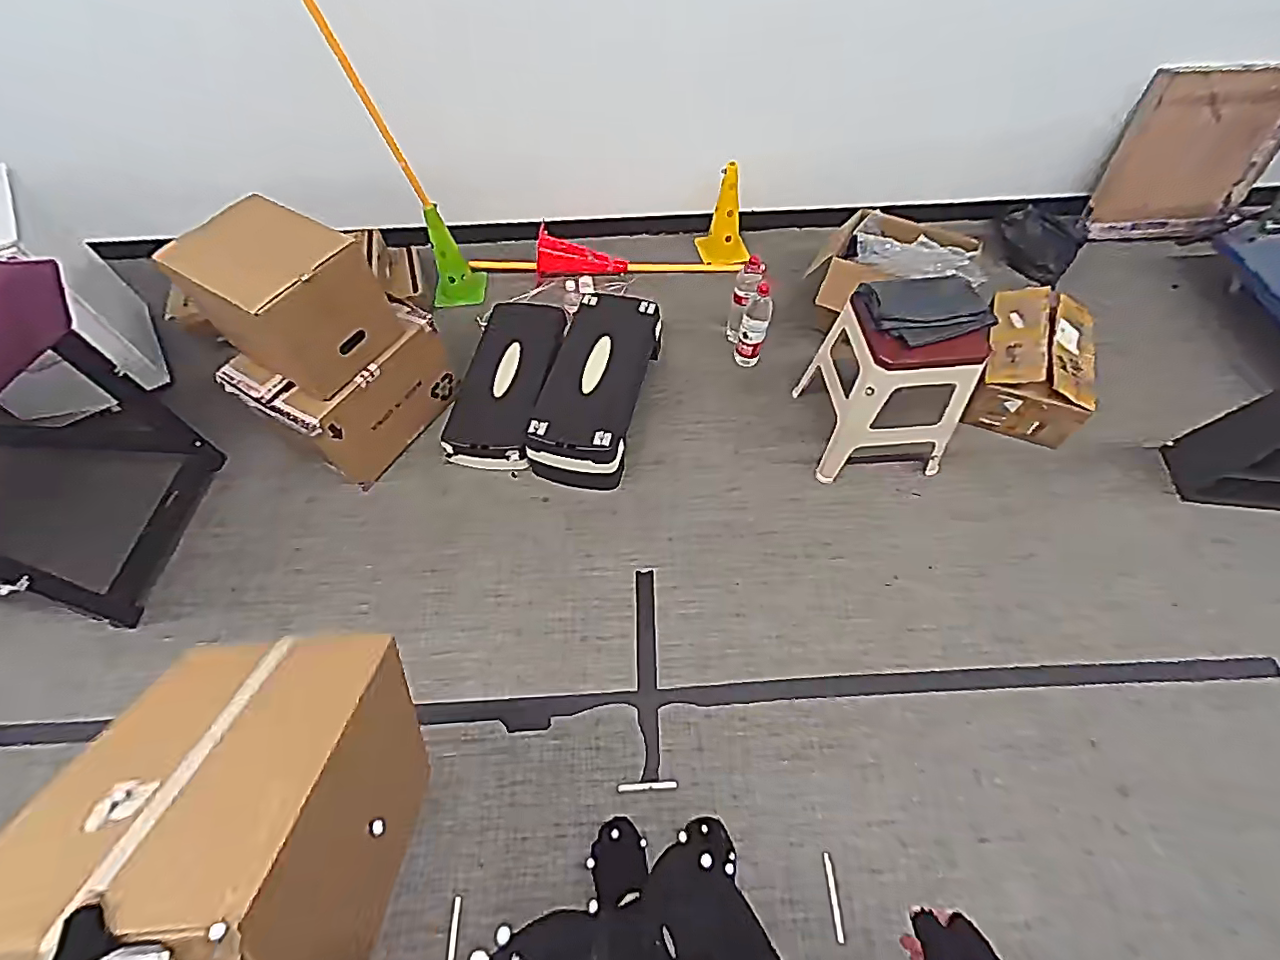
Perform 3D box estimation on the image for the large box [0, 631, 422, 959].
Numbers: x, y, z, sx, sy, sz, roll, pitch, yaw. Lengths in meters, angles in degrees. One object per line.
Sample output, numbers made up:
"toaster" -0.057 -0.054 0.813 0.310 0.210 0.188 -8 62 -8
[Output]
"large box" -0.531 0.466 0.739 0.320 0.320 0.408 -3 27 -2
